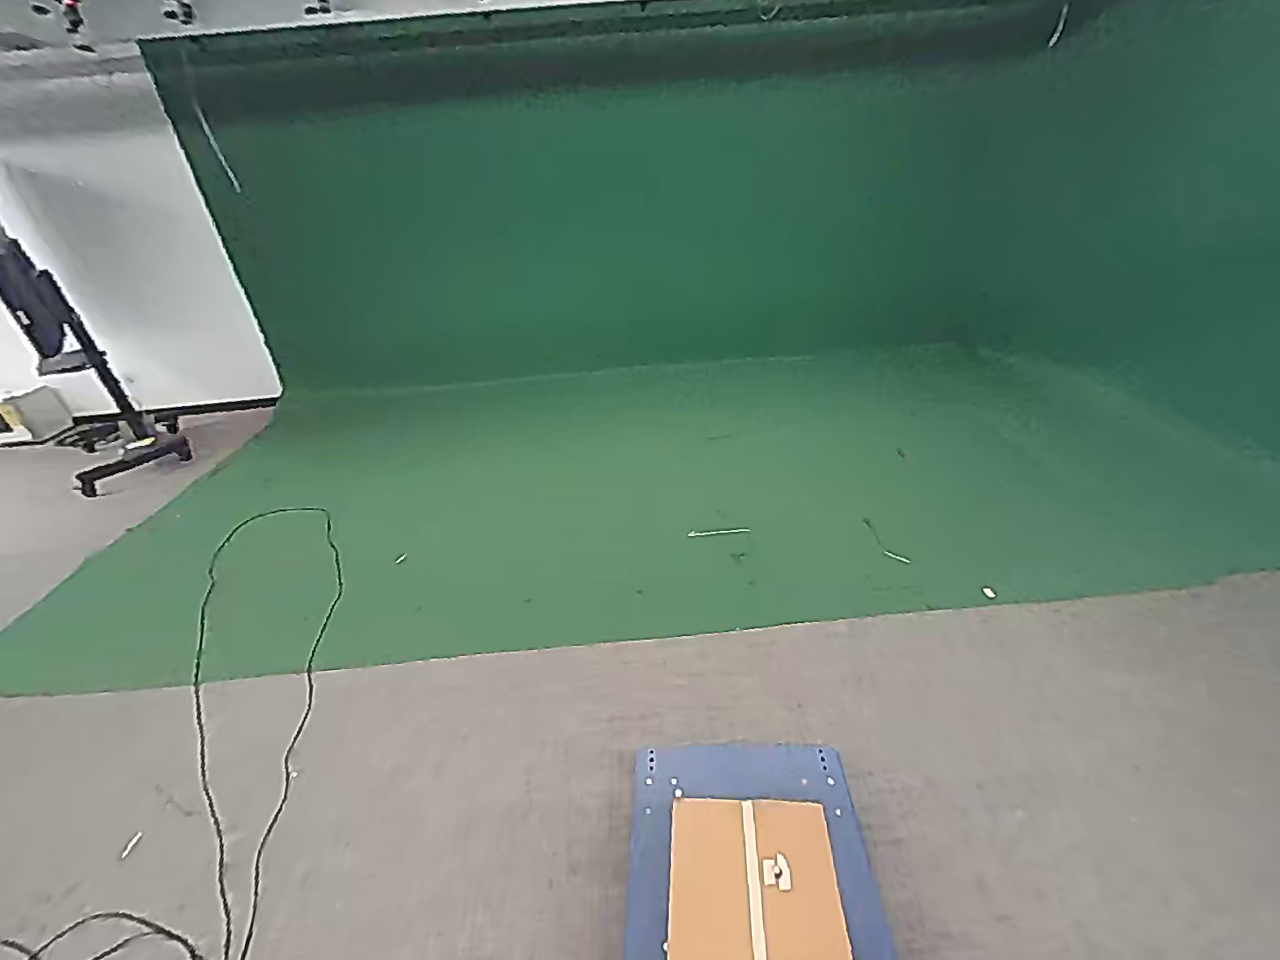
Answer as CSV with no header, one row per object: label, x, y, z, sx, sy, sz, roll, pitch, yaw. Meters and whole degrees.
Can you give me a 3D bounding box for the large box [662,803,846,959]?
large box,0.210,0.918,1.046,0.320,0.320,0.408,-1,30,6
